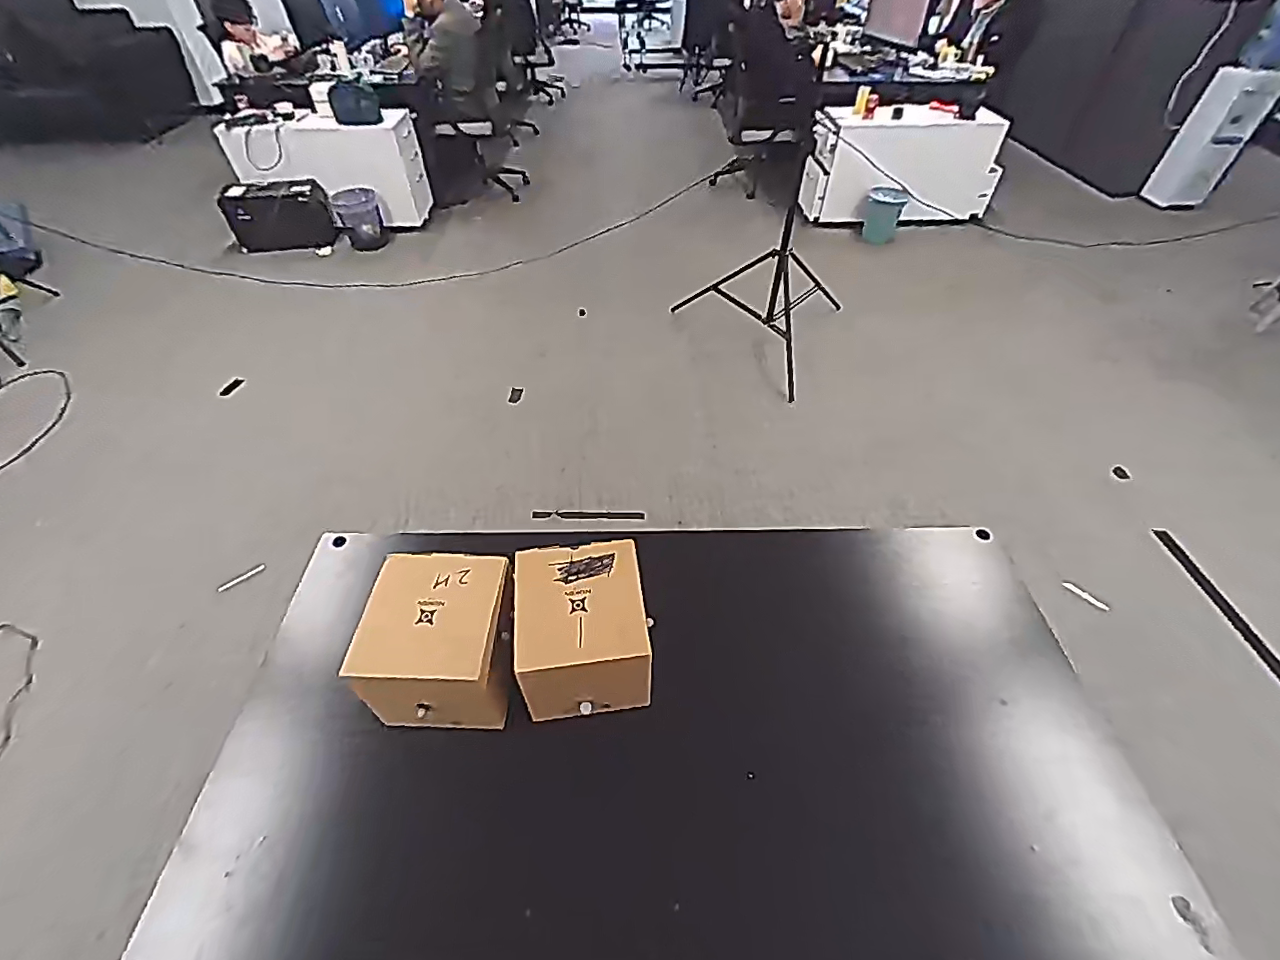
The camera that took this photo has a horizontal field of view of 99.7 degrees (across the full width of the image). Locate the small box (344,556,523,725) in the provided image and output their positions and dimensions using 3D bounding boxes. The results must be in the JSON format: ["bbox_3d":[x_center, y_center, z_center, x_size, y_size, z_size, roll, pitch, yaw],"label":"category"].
[{"bbox_3d":[-0.265,0.224,0.746,0.168,0.176,0.179,1,46,0],"label":"small box"}]
